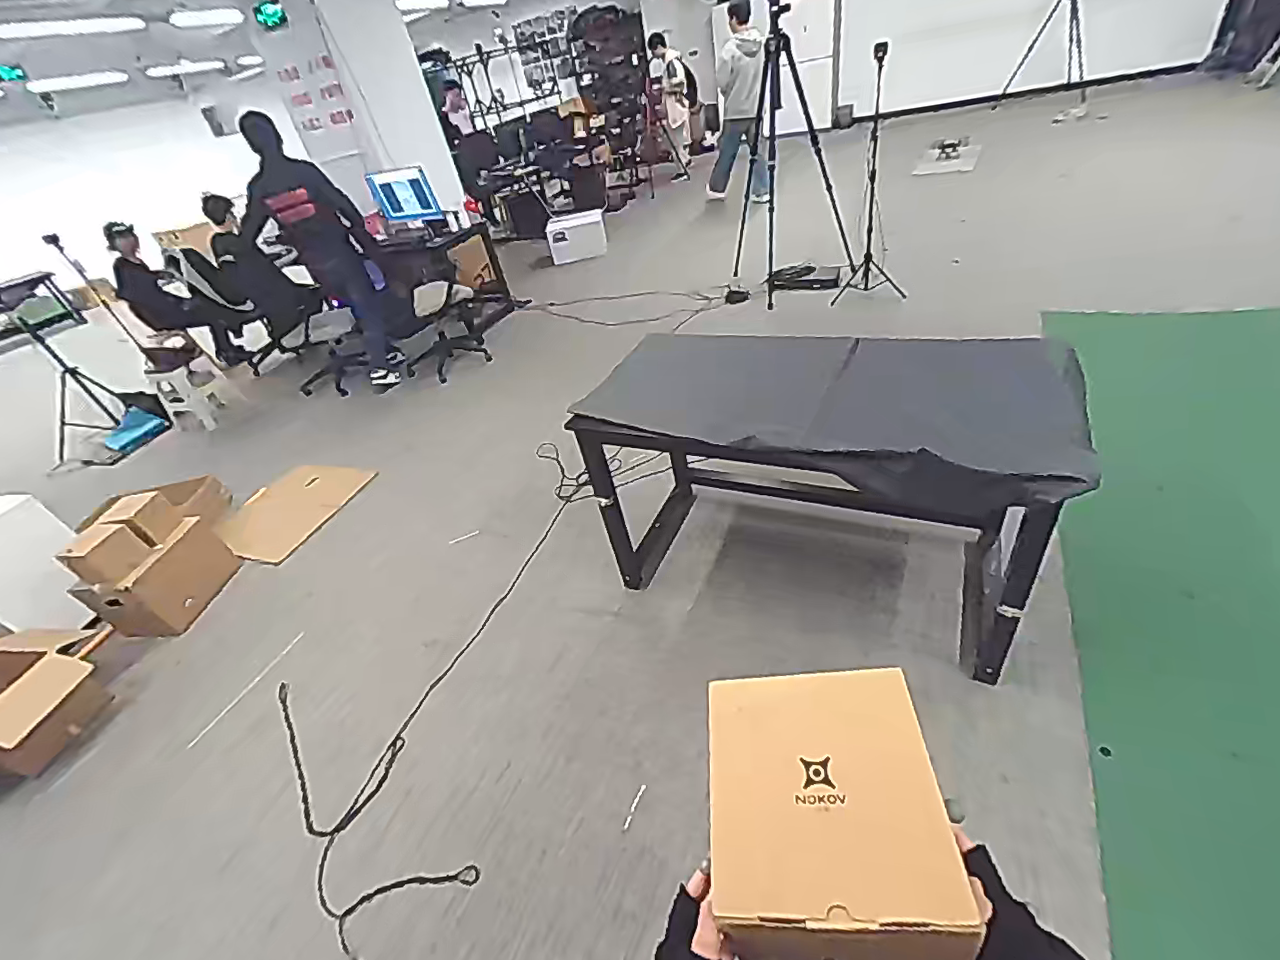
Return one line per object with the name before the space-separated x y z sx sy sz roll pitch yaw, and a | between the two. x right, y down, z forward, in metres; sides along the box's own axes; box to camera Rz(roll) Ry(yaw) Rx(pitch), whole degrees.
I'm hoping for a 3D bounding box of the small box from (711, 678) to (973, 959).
small box | 0.156 0.296 0.464 0.168 0.176 0.179 -9 39 13
